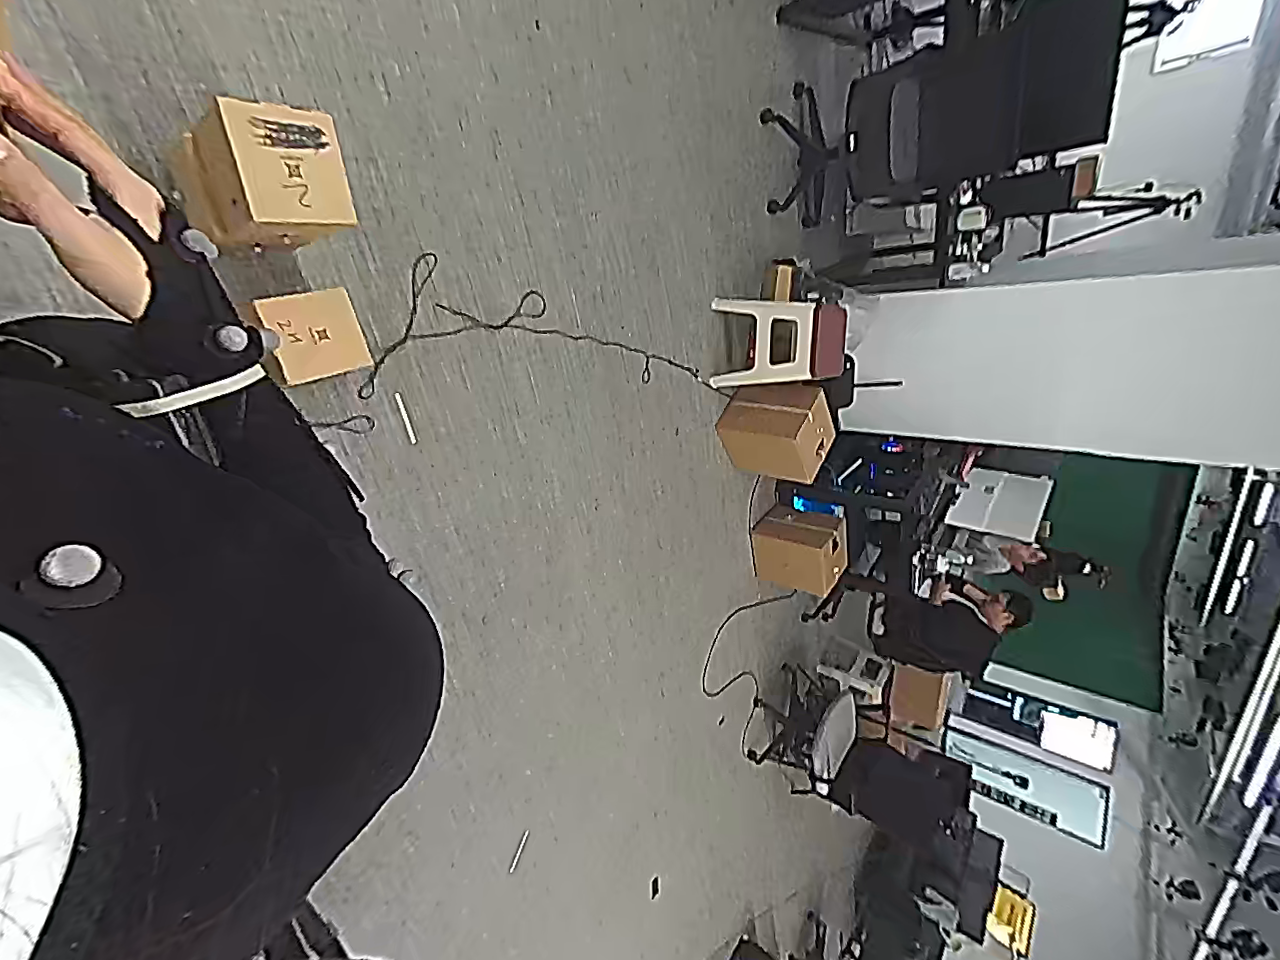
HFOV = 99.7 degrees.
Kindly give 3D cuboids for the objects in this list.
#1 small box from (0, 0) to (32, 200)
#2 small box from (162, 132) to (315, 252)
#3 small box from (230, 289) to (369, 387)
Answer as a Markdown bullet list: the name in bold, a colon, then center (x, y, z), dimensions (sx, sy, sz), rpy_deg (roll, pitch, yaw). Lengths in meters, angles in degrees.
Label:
- **small box**: center (-0.398, -0.235, 0.232), dimensions (0.168, 0.176, 0.179), rpy_deg (-6, 112, -44)
- **small box**: center (-0.764, -0.536, 1.031), dimensions (0.179, 0.176, 0.168), rpy_deg (-24, 114, -44)
- **small box**: center (-0.714, -0.298, 1.136), dimensions (0.179, 0.176, 0.168), rpy_deg (-31, 118, -42)
